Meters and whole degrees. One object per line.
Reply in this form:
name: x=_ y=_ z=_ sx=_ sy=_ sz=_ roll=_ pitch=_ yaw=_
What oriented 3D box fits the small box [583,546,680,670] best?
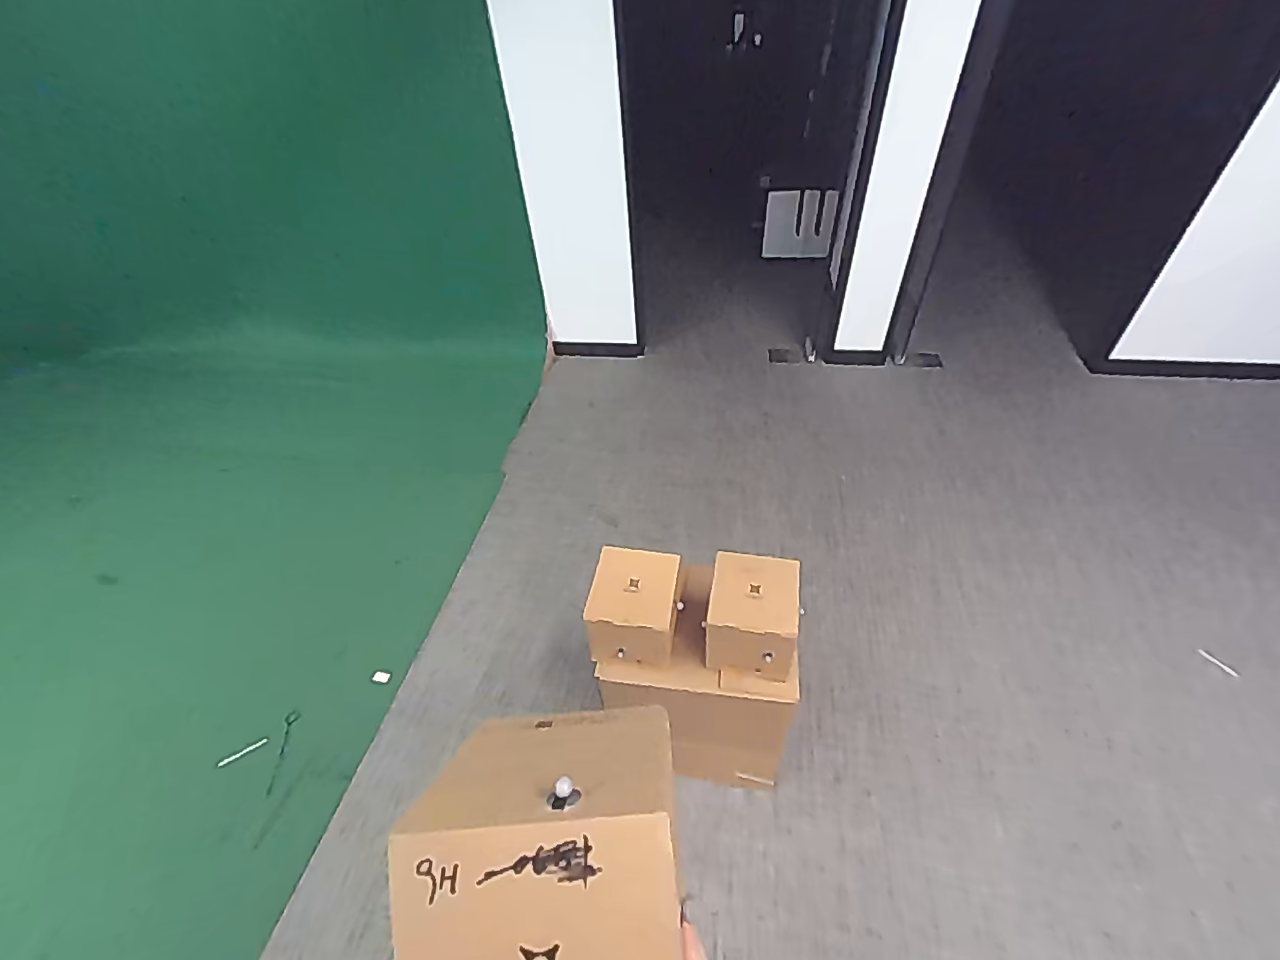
small box: x=-0.012 y=0.264 z=1.116 sx=0.168 sy=0.176 sz=0.179 roll=6 pitch=47 yaw=8

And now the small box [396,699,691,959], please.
small box: x=-0.051 y=0.281 z=0.391 sx=0.168 sy=0.176 sz=0.179 roll=-6 pitch=87 yaw=1

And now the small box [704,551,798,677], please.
small box: x=0.223 y=0.271 z=1.086 sx=0.168 sy=0.176 sz=0.179 roll=6 pitch=44 yaw=12
